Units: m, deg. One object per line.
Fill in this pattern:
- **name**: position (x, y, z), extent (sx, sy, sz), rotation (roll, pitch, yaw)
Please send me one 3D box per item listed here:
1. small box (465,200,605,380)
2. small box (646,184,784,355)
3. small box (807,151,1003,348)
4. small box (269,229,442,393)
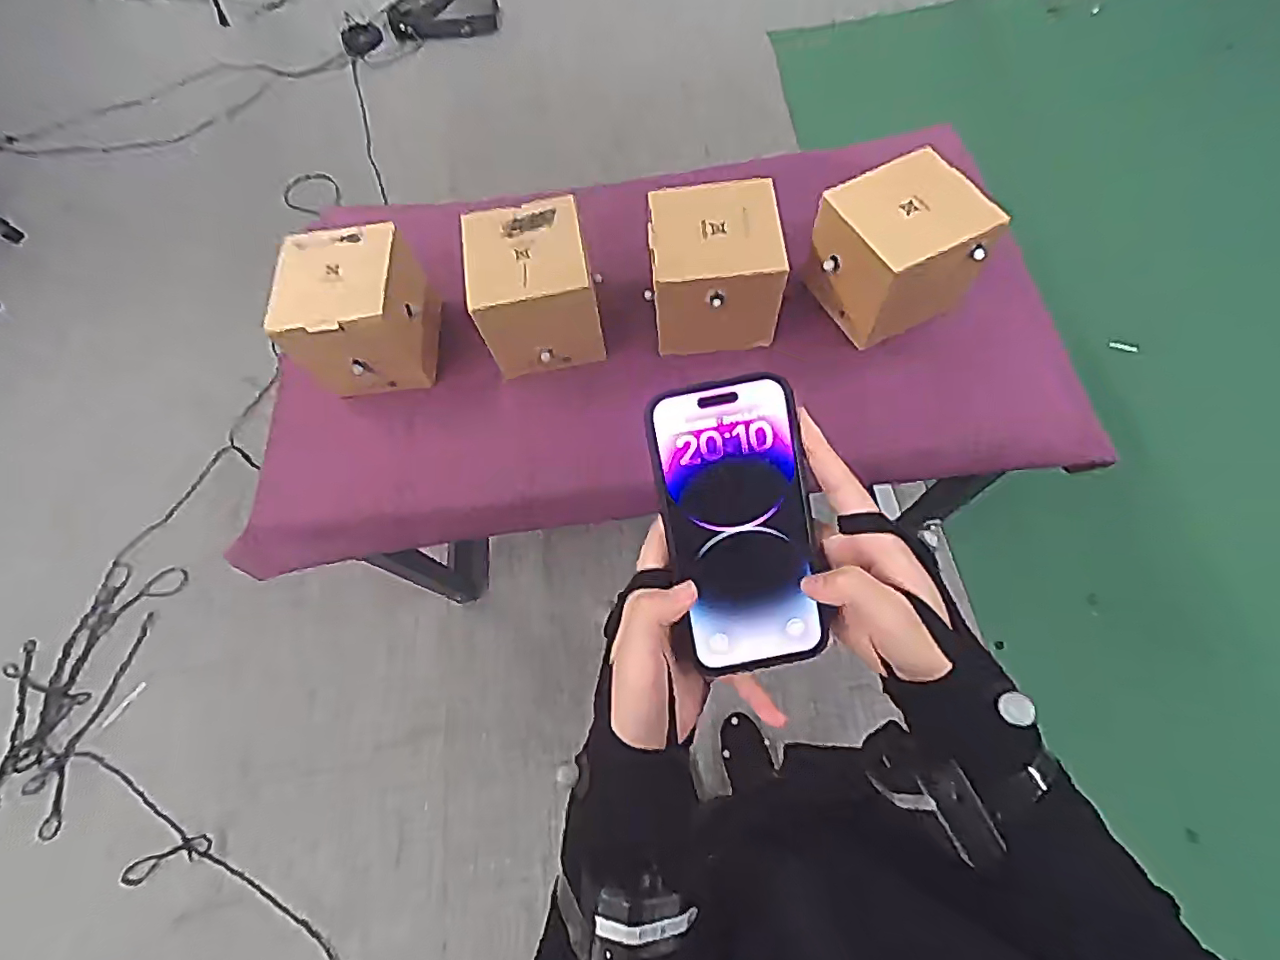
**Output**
- **small box**: position (-0.153, -0.279, 0.816), extent (0.168, 0.176, 0.179), rotation (-11, 67, 1)
- **small box**: position (0.105, -0.301, 0.802), extent (0.179, 0.176, 0.168), rotation (-4, 67, 4)
- **small box**: position (0.362, -0.325, 0.786), extent (0.179, 0.176, 0.168), rotation (-26, 66, -6)
- **small box**: position (-0.419, -0.246, 0.829), extent (0.168, 0.176, 0.179), rotation (-6, 67, 3)
